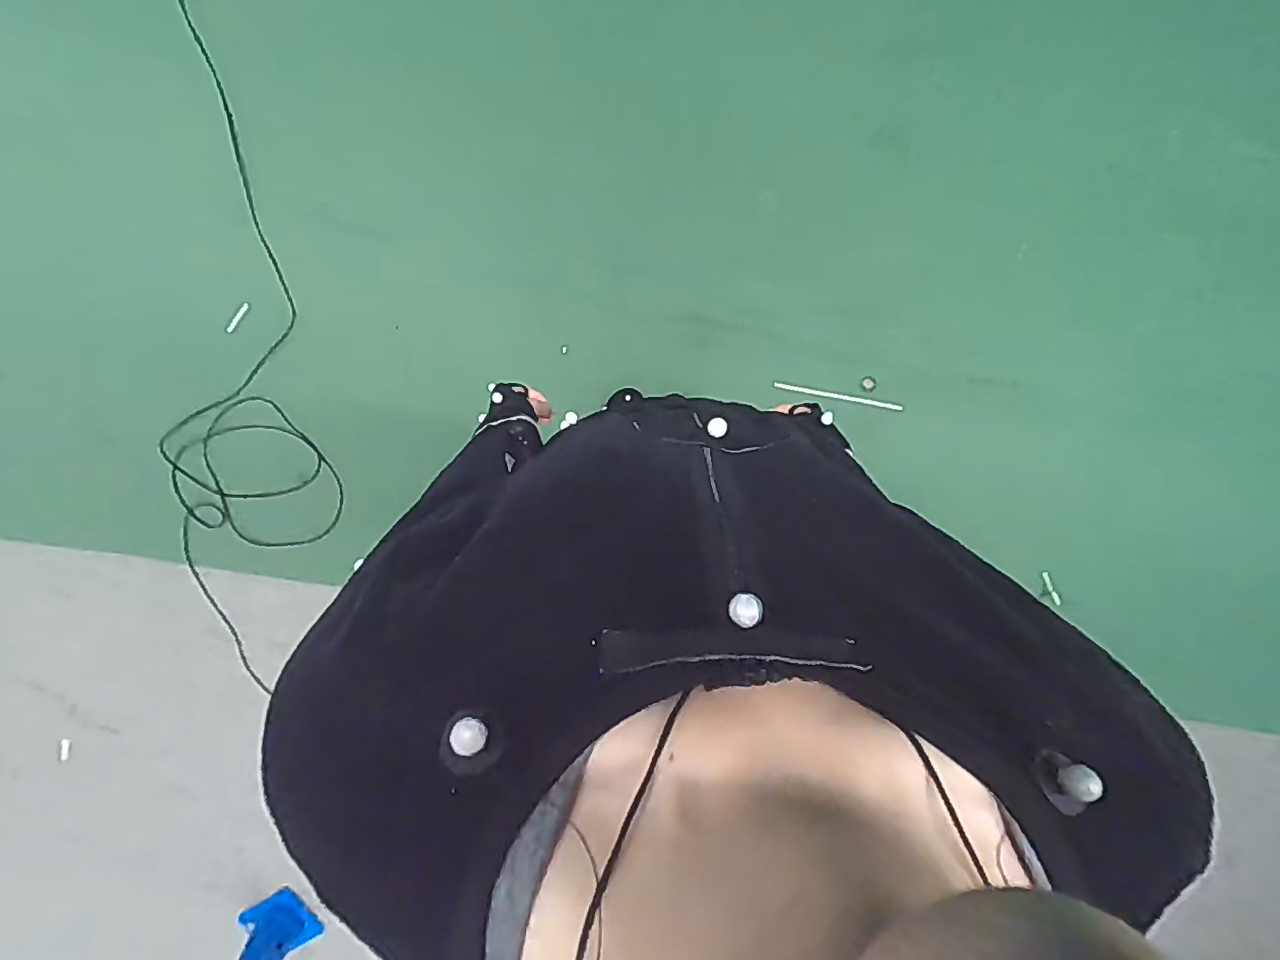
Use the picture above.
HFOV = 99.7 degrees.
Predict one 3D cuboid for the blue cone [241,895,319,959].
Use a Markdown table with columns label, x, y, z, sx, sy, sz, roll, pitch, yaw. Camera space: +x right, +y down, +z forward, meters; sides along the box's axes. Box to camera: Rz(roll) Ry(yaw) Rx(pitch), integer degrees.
| label | x | y | z | sx | sy | sz | roll | pitch | yaw |
| --- | --- | --- | --- | --- | --- | --- | --- | --- | --- |
| blue cone | -1.102 | 1.418 | 1.509 | 0.193 | 0.380 | 0.192 | -33 | 101 | 5 |
